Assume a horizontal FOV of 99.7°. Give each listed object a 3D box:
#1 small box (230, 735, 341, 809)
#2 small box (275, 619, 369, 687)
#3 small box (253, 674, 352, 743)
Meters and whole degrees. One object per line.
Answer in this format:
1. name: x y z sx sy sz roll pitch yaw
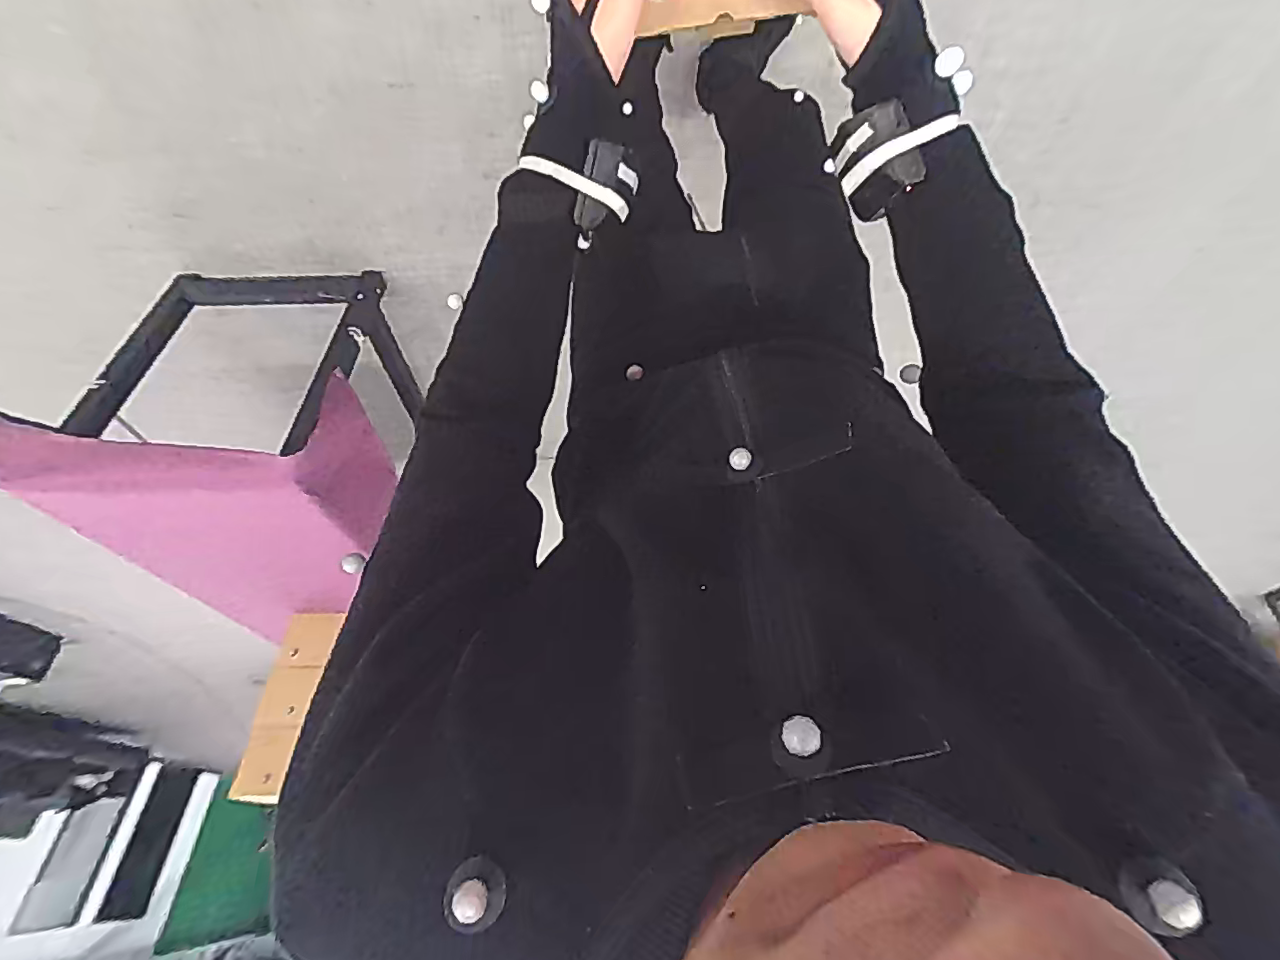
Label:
1. small box: -0.986 0.821 1.523 0.179 0.176 0.168 -6 144 6
2. small box: -0.989 0.544 1.699 0.179 0.176 0.168 -1 145 -1
3. small box: -0.987 0.679 1.605 0.179 0.176 0.168 -3 144 3
